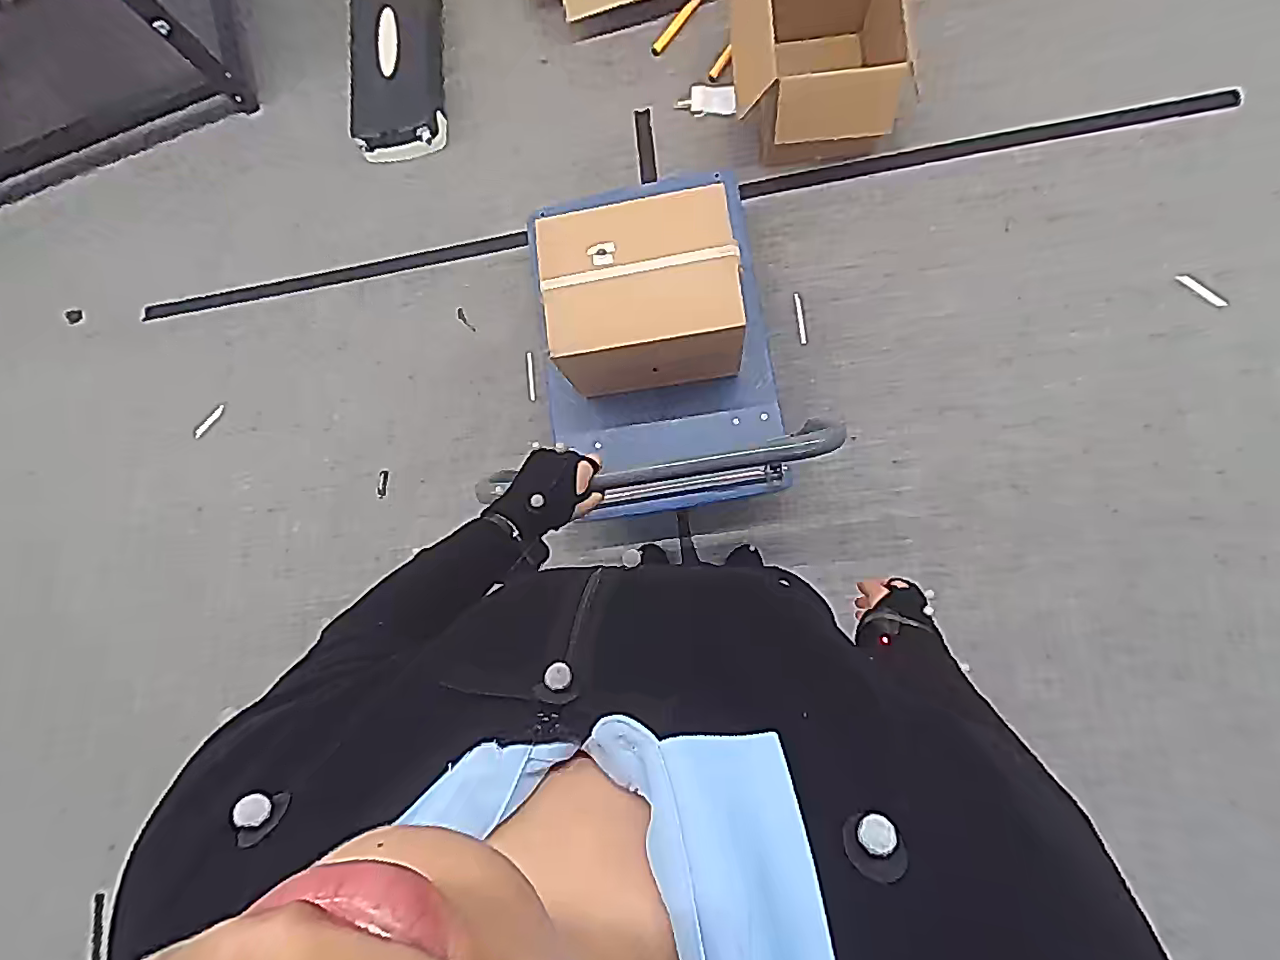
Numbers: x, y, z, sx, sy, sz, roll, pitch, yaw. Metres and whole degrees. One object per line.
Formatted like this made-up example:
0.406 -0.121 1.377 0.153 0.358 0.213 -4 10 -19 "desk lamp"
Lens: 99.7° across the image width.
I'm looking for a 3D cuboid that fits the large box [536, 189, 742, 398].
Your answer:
0.011 -0.407 1.265 0.408 0.320 0.320 -8 81 7 "large box"
